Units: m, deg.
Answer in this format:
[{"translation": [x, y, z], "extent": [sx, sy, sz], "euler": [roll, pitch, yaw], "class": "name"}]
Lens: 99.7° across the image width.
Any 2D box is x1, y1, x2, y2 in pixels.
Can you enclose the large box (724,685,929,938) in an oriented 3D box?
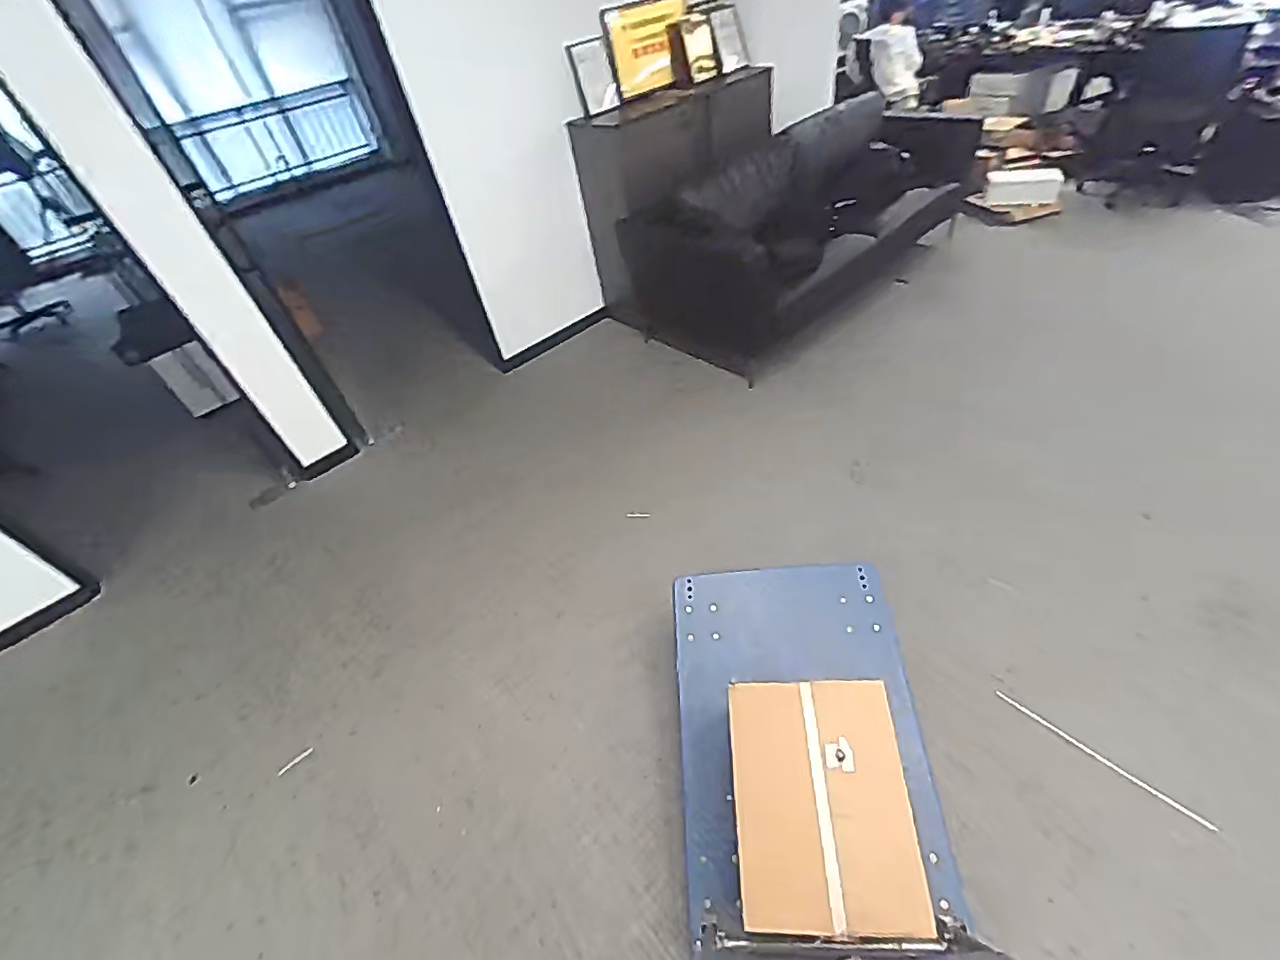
[{"translation": [0.349, 0.674, 1.129], "extent": [0.320, 0.320, 0.408], "euler": [-3, 56, 8], "class": "large box"}]
